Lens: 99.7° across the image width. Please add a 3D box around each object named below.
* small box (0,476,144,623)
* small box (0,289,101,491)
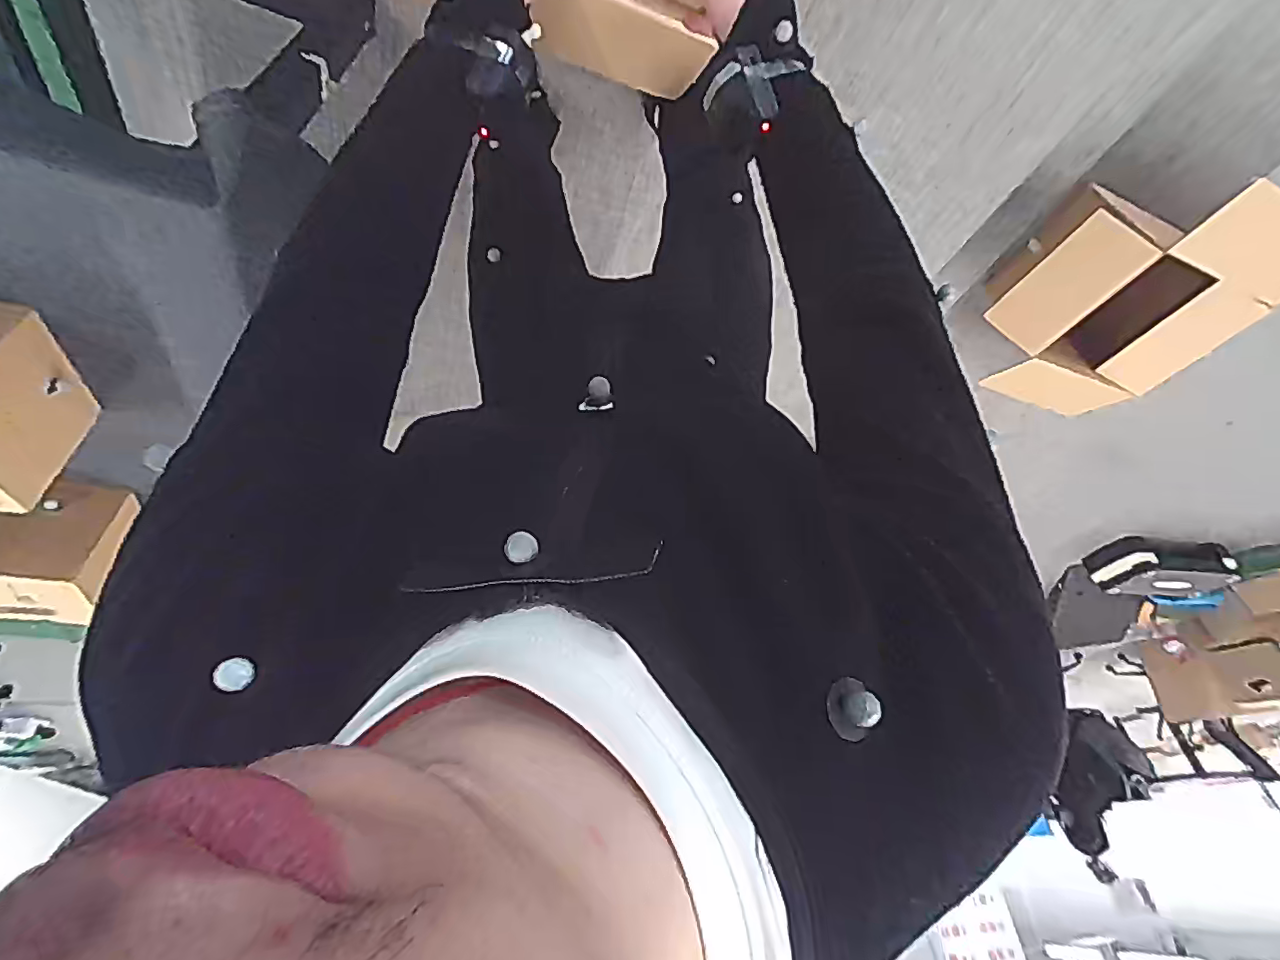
[{"bbox_3d":[-0.924,0.107,0.847,0.168,0.176,0.179,13,141,-25],"label":"small box"},{"bbox_3d":[-0.768,-0.110,0.596,0.168,0.176,0.179,6,144,-15],"label":"small box"}]
